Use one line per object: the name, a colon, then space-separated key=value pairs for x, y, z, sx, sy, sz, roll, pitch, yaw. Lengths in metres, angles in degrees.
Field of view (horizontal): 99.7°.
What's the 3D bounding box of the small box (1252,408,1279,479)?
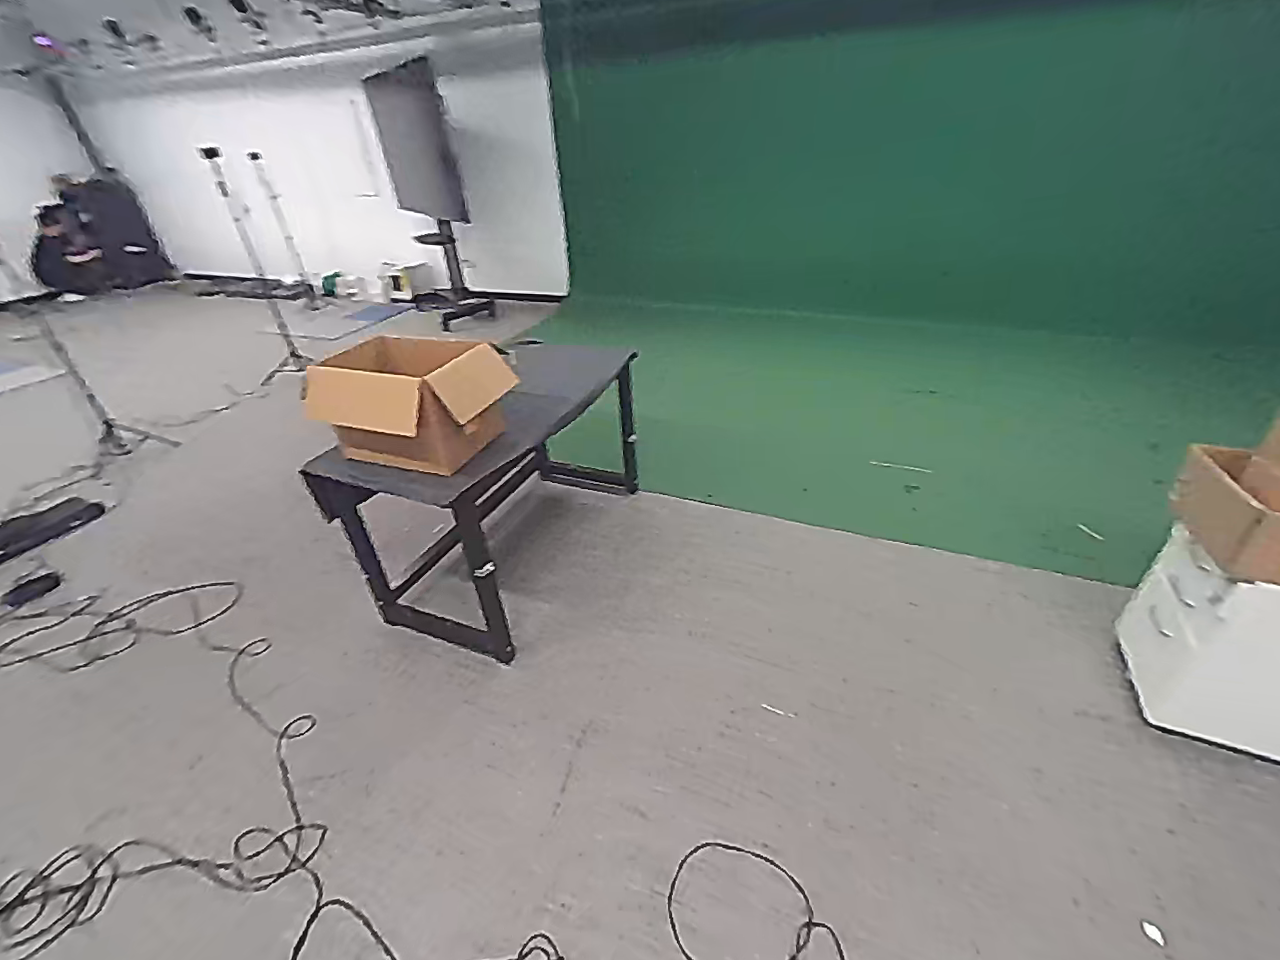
small box: x=1.594 y=-0.082 z=1.247 sx=0.168 sy=0.176 sz=0.179 roll=11 pitch=30 yaw=21
